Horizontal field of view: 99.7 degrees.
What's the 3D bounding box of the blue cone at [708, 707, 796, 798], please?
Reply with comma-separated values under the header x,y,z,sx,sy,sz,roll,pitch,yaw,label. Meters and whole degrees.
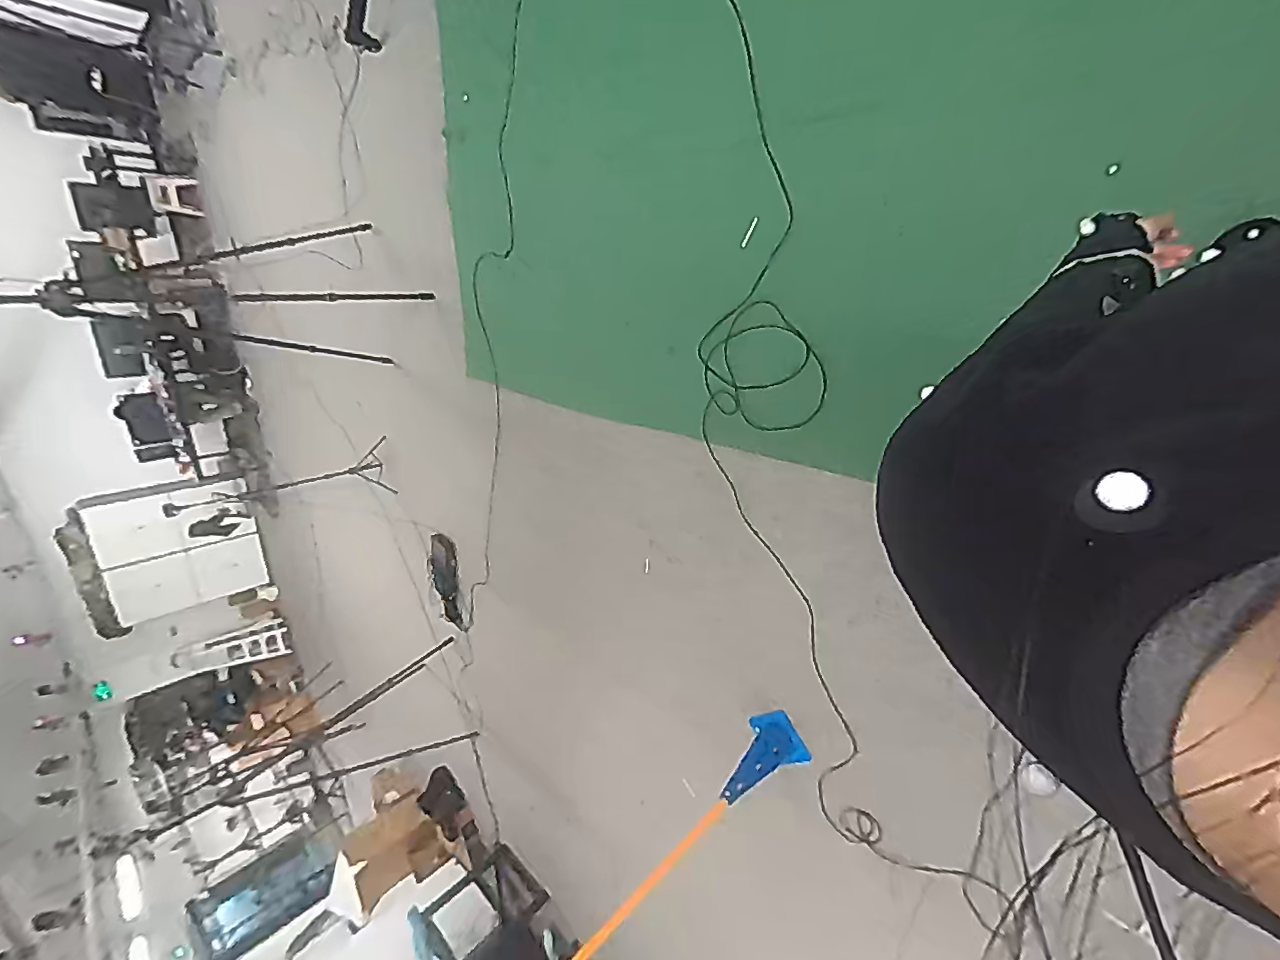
x,y,z,sx,sy,sz,roll,pitch,yaw,label
0.372,1.006,1.932,0.192,0.380,0.193,57,137,11,blue cone
